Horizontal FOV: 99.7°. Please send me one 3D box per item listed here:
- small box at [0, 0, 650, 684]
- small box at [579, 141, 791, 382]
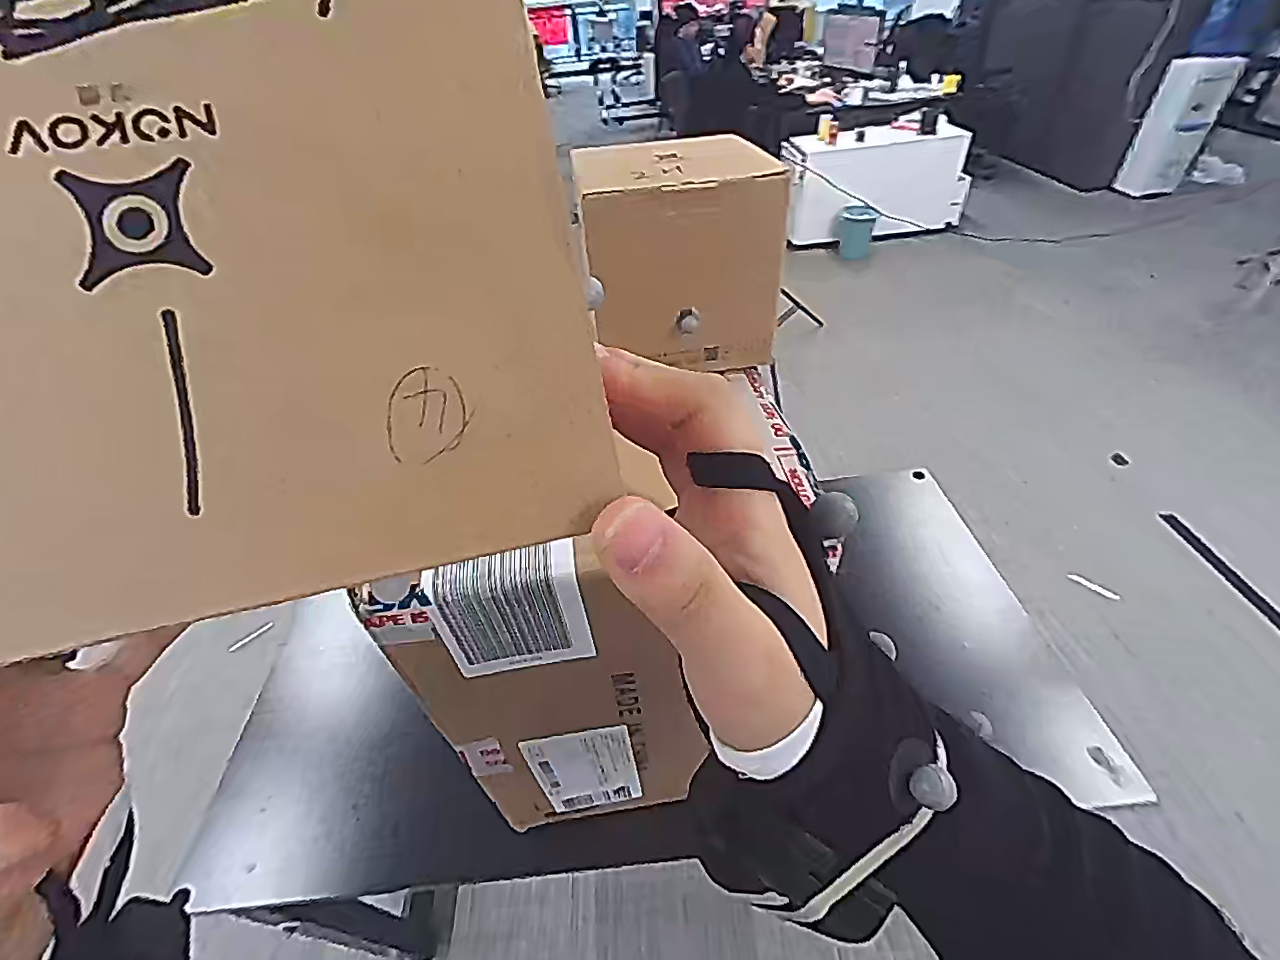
[{"bbox_3d":[-0.104,-0.051,0.190,0.168,0.179,0.176,-12,0,-9],"label":"small box"},{"bbox_3d":[0.031,-0.215,0.529,0.168,0.176,0.179,-8,41,-3],"label":"small box"}]
